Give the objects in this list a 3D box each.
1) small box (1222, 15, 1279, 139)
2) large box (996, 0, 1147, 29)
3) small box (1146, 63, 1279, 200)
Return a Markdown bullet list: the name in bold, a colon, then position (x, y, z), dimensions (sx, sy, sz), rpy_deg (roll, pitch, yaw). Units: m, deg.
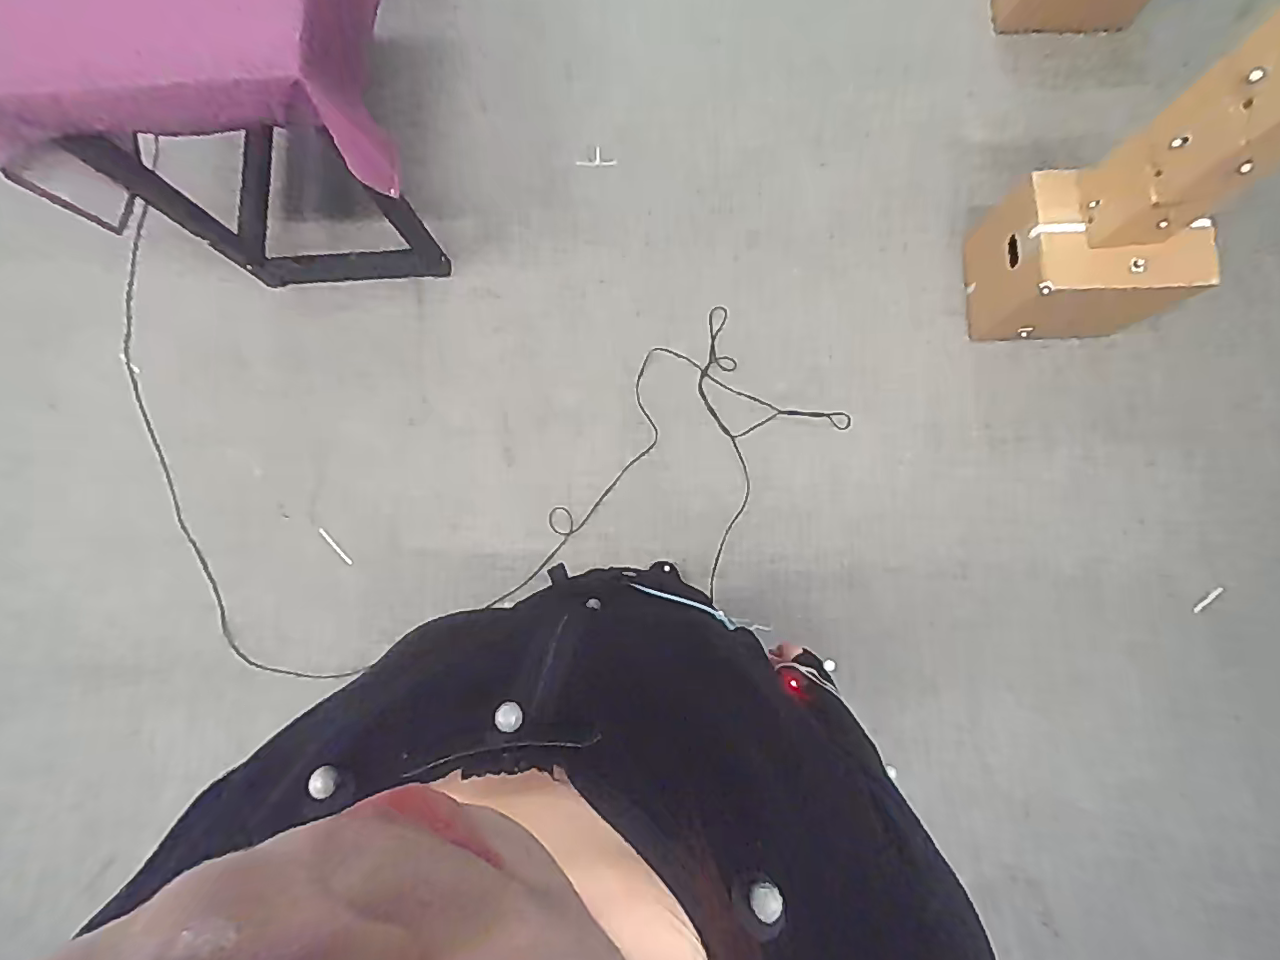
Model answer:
- **small box**: position (1.134, -0.697, 0.878), dimensions (0.179, 0.176, 0.168), rpy_deg (-9, 80, 1)
- **large box**: position (1.321, -1.590, 1.573), dimensions (0.408, 0.320, 0.320), rpy_deg (0, 82, 1)
- **small box**: position (1.137, -0.671, 1.041), dimensions (0.179, 0.176, 0.168), rpy_deg (-9, 81, 1)
